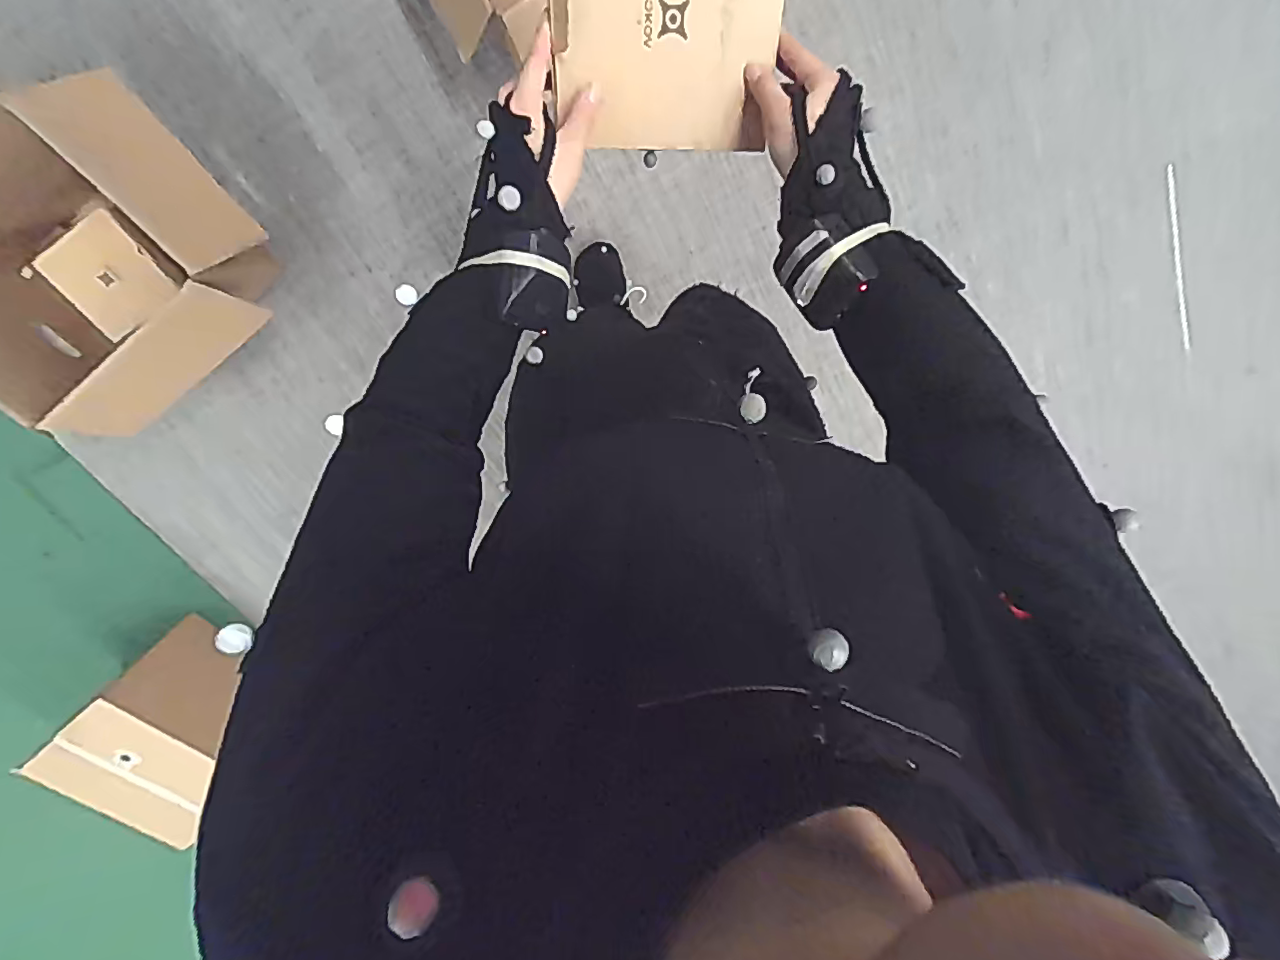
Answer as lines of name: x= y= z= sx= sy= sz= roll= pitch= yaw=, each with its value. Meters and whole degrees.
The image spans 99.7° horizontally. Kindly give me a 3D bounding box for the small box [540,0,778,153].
small box: x=0.005 y=-0.378 z=0.461 sx=0.179 sy=0.176 sz=0.168 roll=-4 pitch=124 yaw=-7
